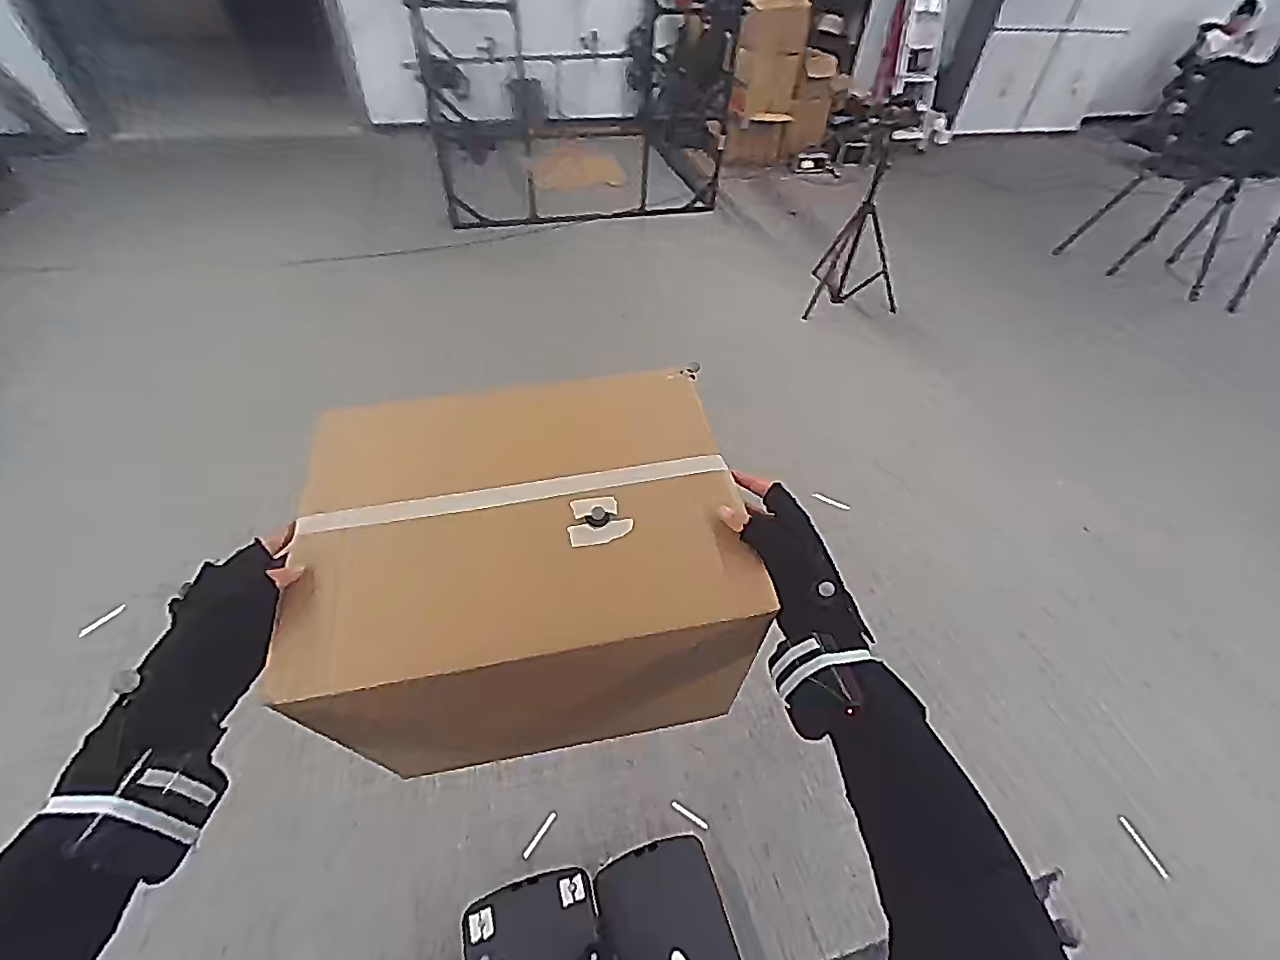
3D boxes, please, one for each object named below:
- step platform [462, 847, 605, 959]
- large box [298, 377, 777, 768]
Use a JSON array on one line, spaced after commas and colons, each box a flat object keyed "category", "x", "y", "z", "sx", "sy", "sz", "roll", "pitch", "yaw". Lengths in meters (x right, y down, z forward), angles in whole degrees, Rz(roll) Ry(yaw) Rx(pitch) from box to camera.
[{"category": "step platform", "x": -0.178, "y": 1.148, "z": 1.076, "sx": 0.286, "sy": 0.204, "sz": 0.684, "roll": -11, "pitch": 47, "yaw": -14}, {"category": "large box", "x": -0.104, "y": 0.112, "z": 0.650, "sx": 0.408, "sy": 0.320, "sz": 0.320, "roll": -7, "pitch": 53, "yaw": -7}]
